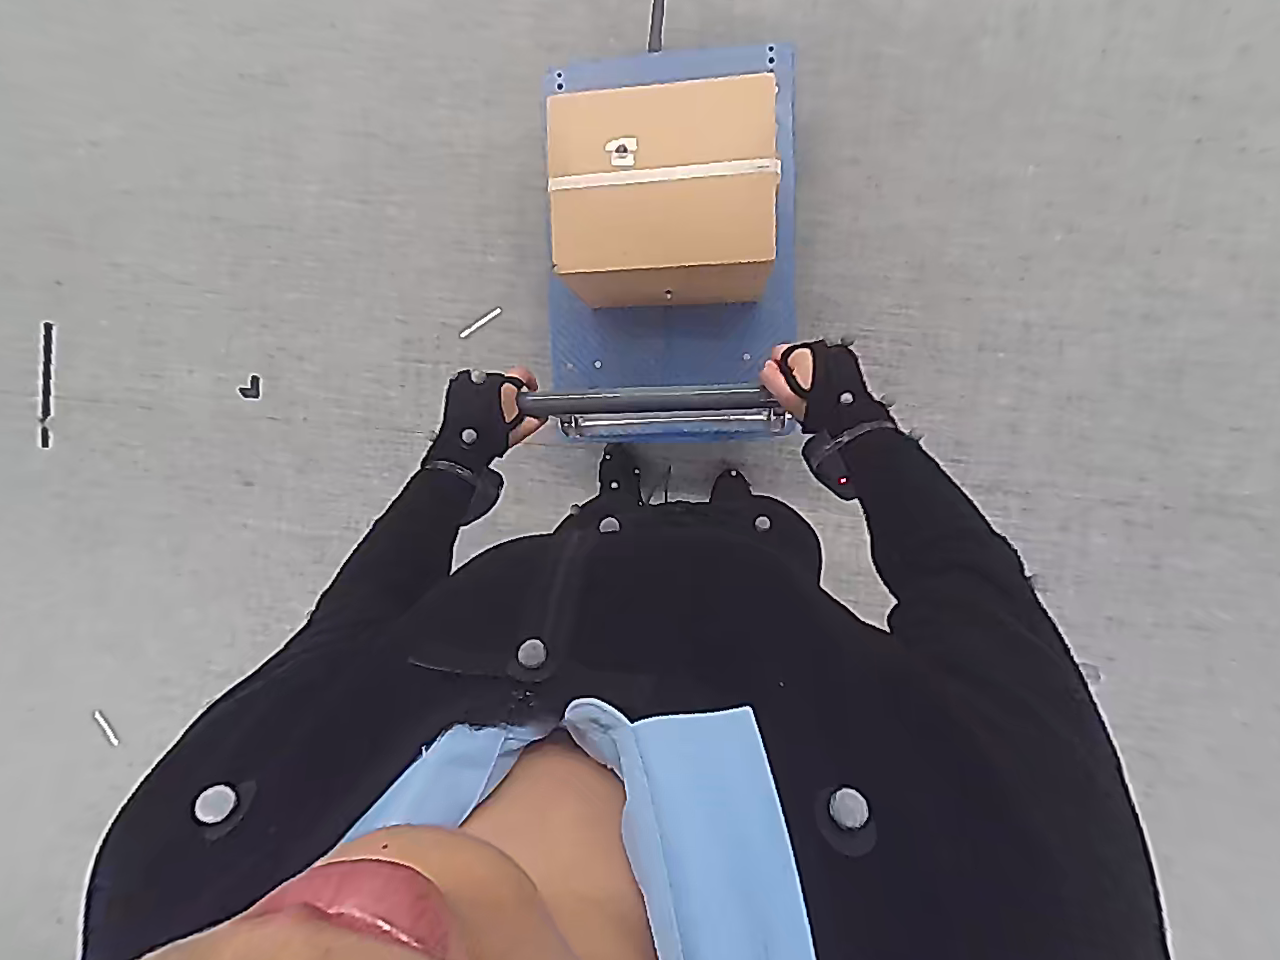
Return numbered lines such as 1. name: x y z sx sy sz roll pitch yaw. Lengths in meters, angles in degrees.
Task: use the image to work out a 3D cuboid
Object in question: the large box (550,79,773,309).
1. large box: 0.059 -0.554 1.127 0.408 0.320 0.320 -1 94 9
